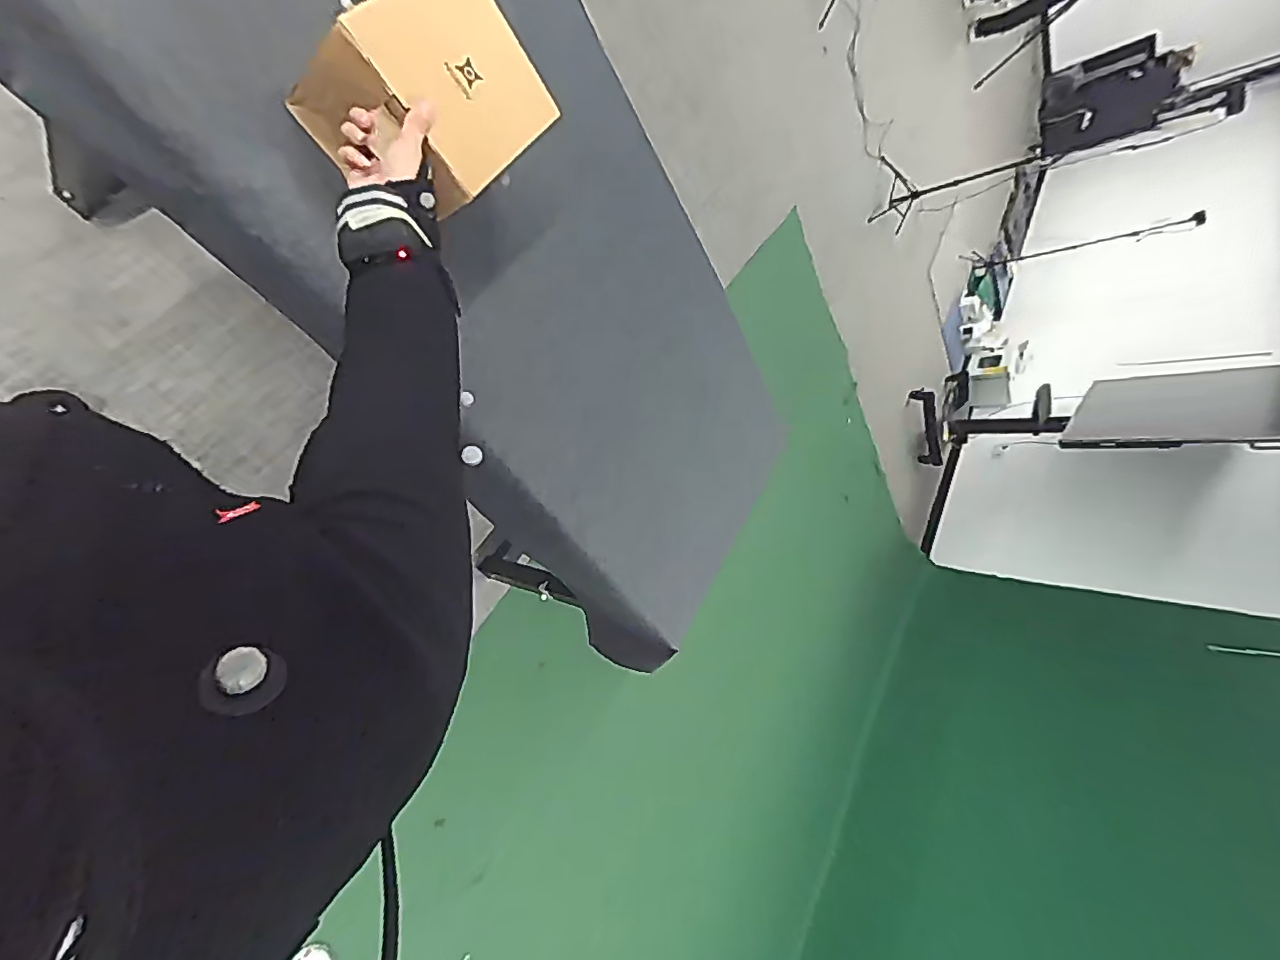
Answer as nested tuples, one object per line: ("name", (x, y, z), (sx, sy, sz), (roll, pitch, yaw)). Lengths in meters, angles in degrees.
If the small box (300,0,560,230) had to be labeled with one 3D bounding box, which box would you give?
("small box", (-0.228, -0.410, 0.593), (0.168, 0.176, 0.179), (50, 59, -37))
